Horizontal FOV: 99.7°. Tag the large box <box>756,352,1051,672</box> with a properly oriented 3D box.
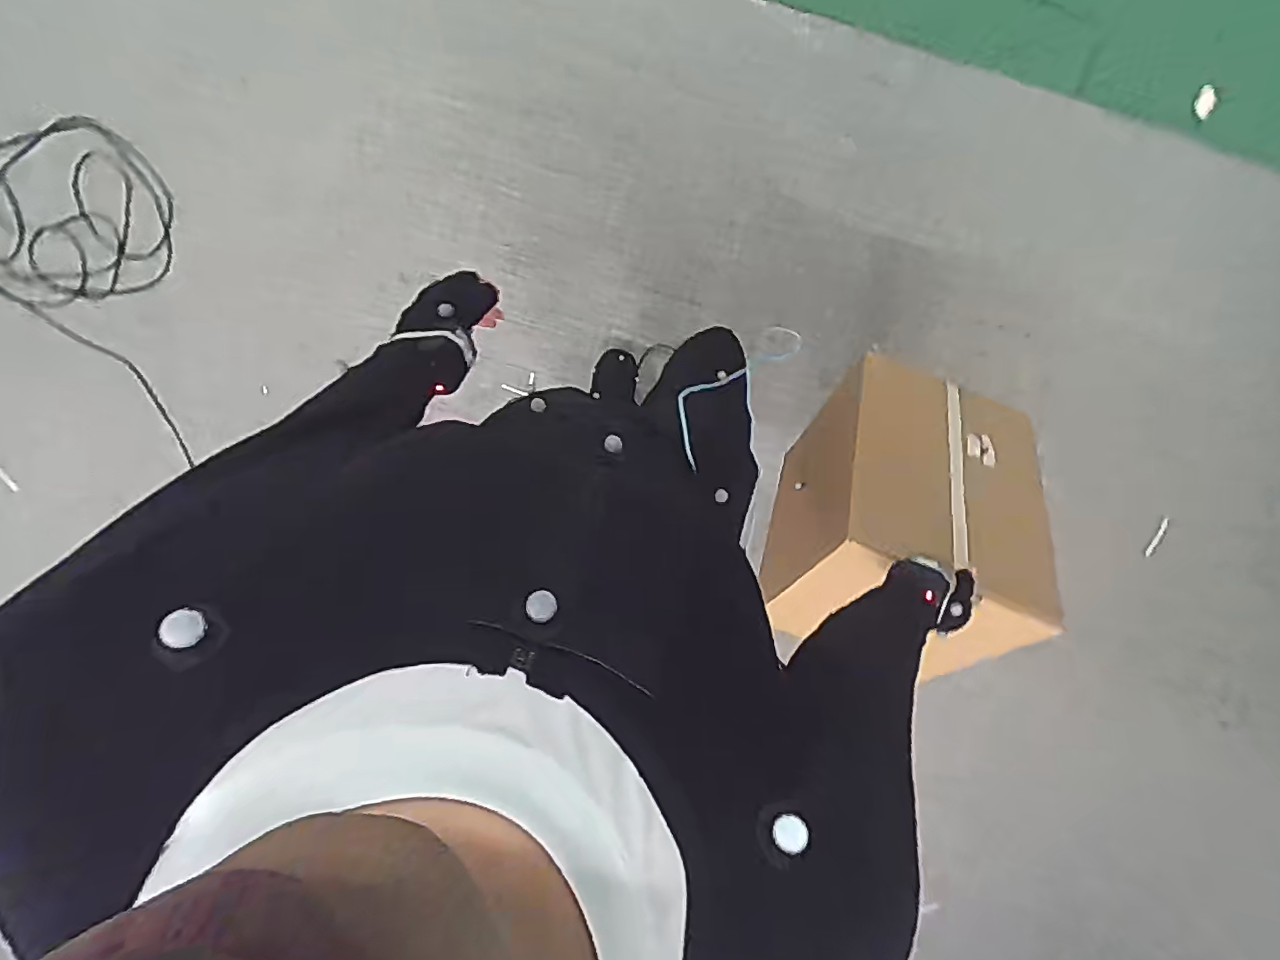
[{"bbox_3d":[0.433,0.062,0.953,0.320,0.408,0.320,24,144,-2],"label":"large box"}]
